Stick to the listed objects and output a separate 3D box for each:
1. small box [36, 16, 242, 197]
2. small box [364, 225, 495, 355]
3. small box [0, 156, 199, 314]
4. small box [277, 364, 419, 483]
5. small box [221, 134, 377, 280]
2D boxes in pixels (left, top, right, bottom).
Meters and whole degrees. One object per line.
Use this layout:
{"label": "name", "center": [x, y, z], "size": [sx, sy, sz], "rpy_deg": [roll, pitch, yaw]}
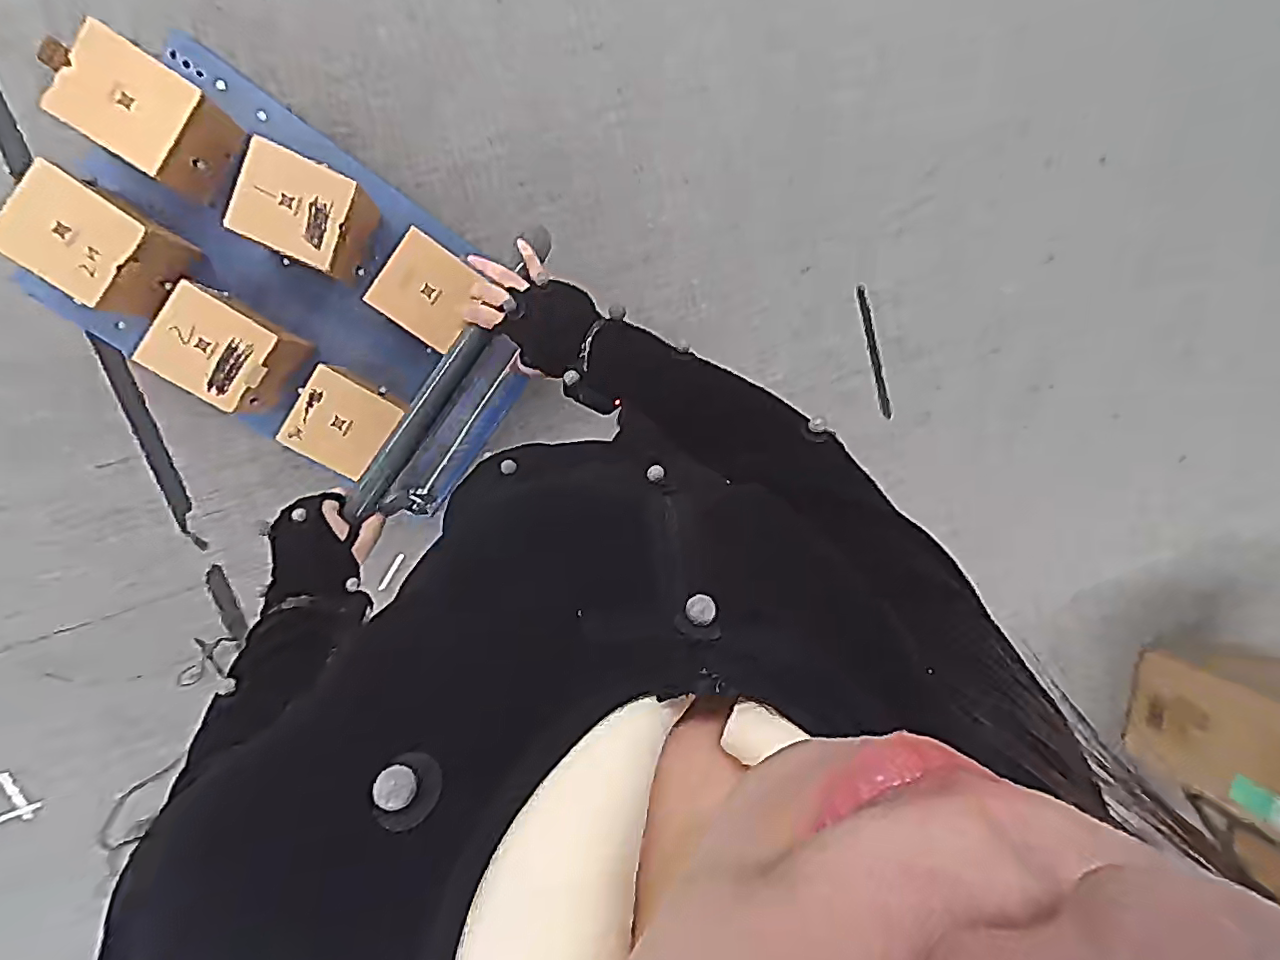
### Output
{"label": "small box", "center": [-0.849, -0.625, 0.940], "size": [0.179, 0.176, 0.168], "rpy_deg": [31, 92, -16]}
{"label": "small box", "center": [-0.407, -0.367, 1.081], "size": [0.179, 0.176, 0.168], "rpy_deg": [34, 90, -15]}
{"label": "small box", "center": [-0.949, -0.413, 0.952], "size": [0.179, 0.176, 0.168], "rpy_deg": [36, 91, -16]}
{"label": "small box", "center": [-0.569, -0.117, 1.085], "size": [0.179, 0.176, 0.168], "rpy_deg": [30, 91, -16]}
{"label": "small box", "center": [-0.621, -0.493, 1.012], "size": [0.179, 0.176, 0.168], "rpy_deg": [22, 94, -13]}
